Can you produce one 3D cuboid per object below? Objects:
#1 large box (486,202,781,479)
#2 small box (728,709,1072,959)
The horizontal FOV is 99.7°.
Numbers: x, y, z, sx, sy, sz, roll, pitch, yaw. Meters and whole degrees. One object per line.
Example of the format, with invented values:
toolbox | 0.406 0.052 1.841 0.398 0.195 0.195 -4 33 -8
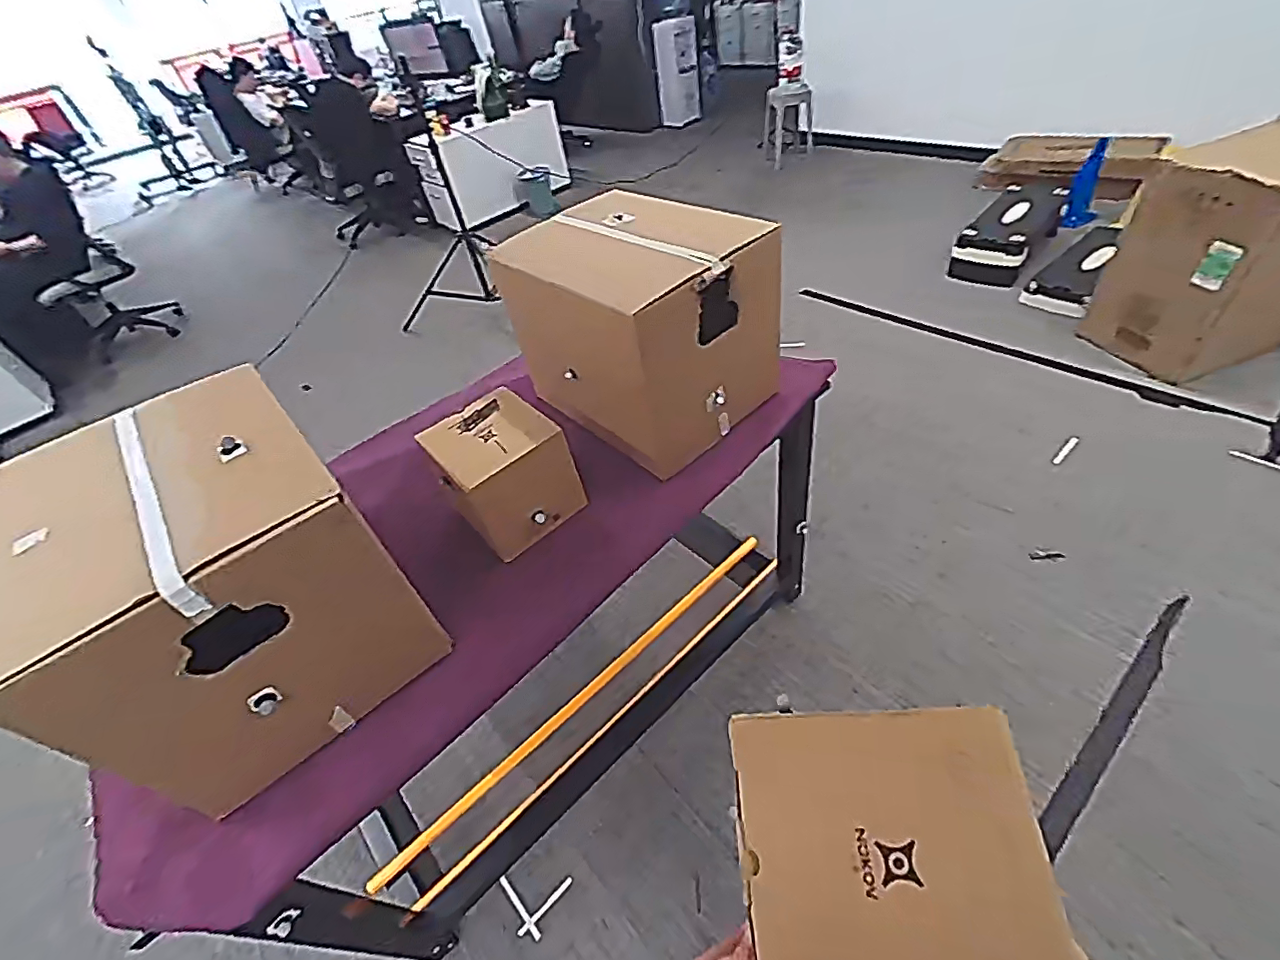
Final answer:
large box | 0.001 -0.266 0.978 0.320 0.320 0.408 -37 48 -23
small box | 0.163 0.260 0.396 0.179 0.176 0.168 -7 64 10
